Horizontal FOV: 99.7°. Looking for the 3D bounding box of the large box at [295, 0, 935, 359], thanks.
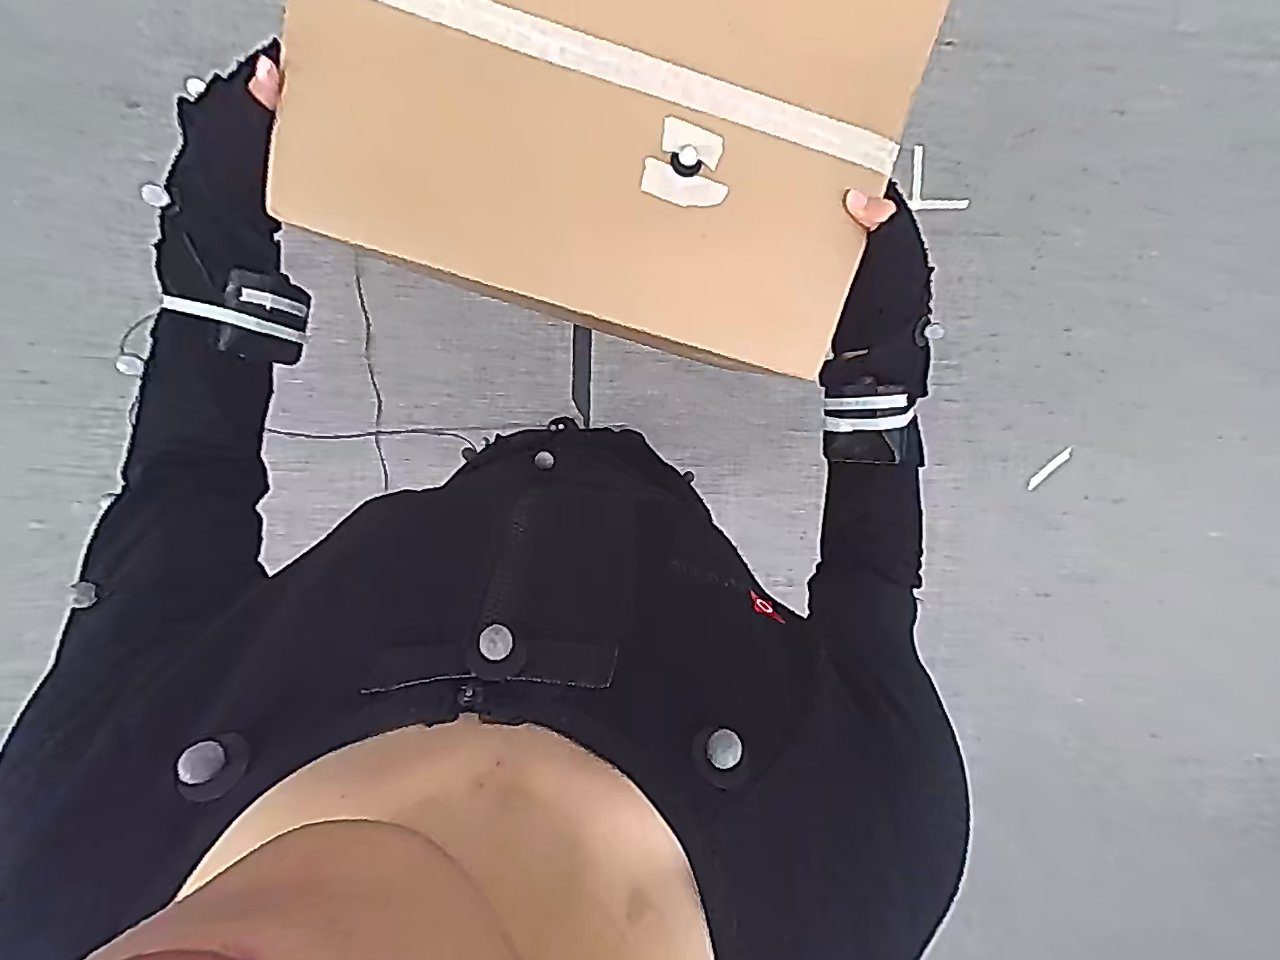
[{"bbox_3d":[-0.022,-0.316,0.513,0.408,0.320,0.320,15,103,-5],"label":"large box"}]
